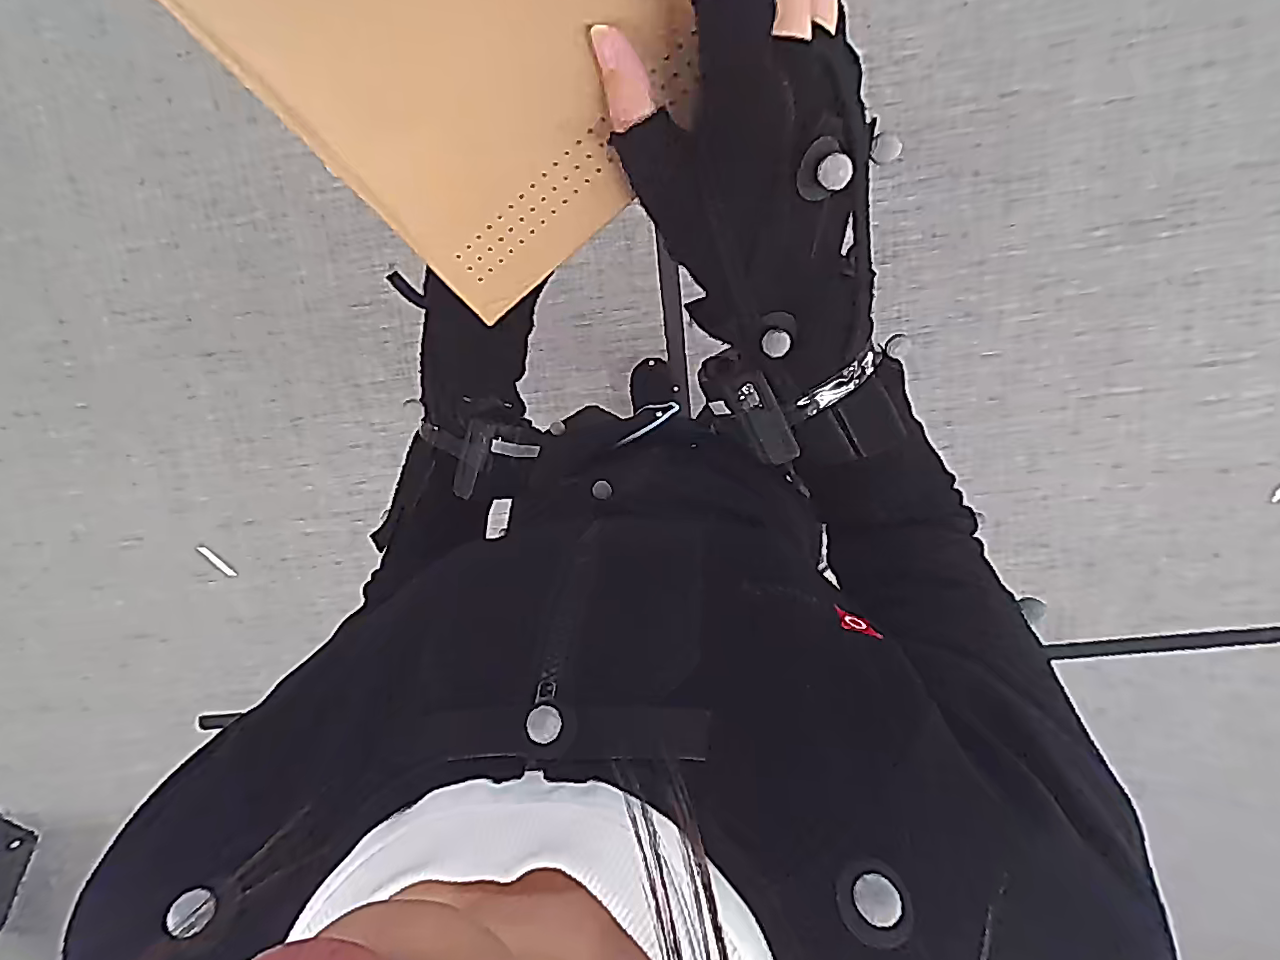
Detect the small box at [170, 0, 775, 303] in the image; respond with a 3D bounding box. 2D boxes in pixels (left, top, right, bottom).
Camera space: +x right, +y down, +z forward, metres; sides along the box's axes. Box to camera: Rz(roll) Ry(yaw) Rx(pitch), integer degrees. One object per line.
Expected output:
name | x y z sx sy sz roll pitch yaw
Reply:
small box | -0.064 -0.223 0.270 0.179 0.168 0.176 -34 126 18
